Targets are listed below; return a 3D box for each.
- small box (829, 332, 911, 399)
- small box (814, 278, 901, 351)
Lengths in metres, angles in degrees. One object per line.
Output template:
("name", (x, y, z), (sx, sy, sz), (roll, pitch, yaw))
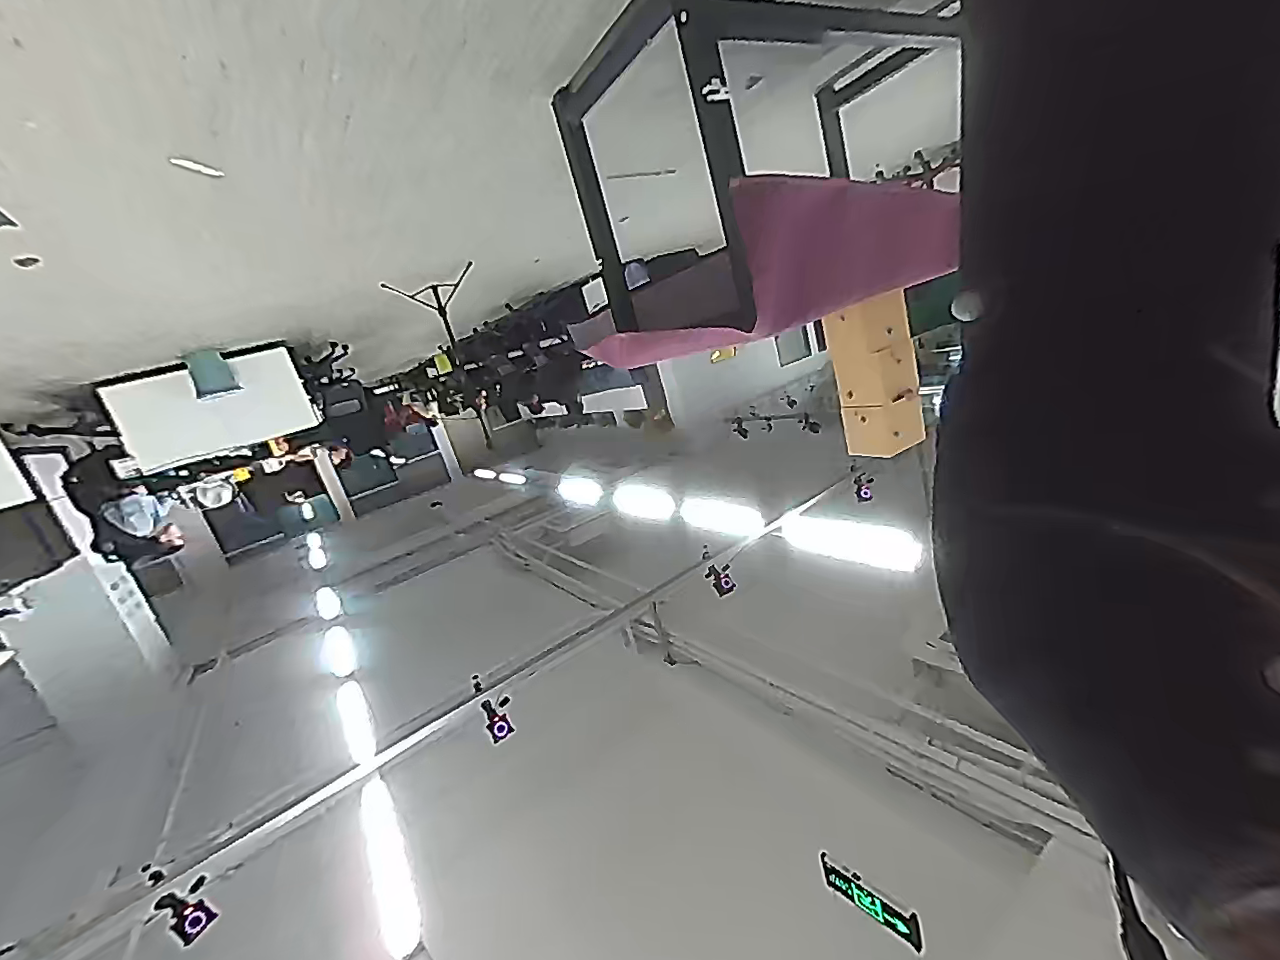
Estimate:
("small box", (0.720, -0.361, 1.705), (0.168, 0.176, 0.179), (-25, -163, -24))
("small box", (0.660, -0.504, 1.646), (0.179, 0.176, 0.168), (-22, -164, -19))
